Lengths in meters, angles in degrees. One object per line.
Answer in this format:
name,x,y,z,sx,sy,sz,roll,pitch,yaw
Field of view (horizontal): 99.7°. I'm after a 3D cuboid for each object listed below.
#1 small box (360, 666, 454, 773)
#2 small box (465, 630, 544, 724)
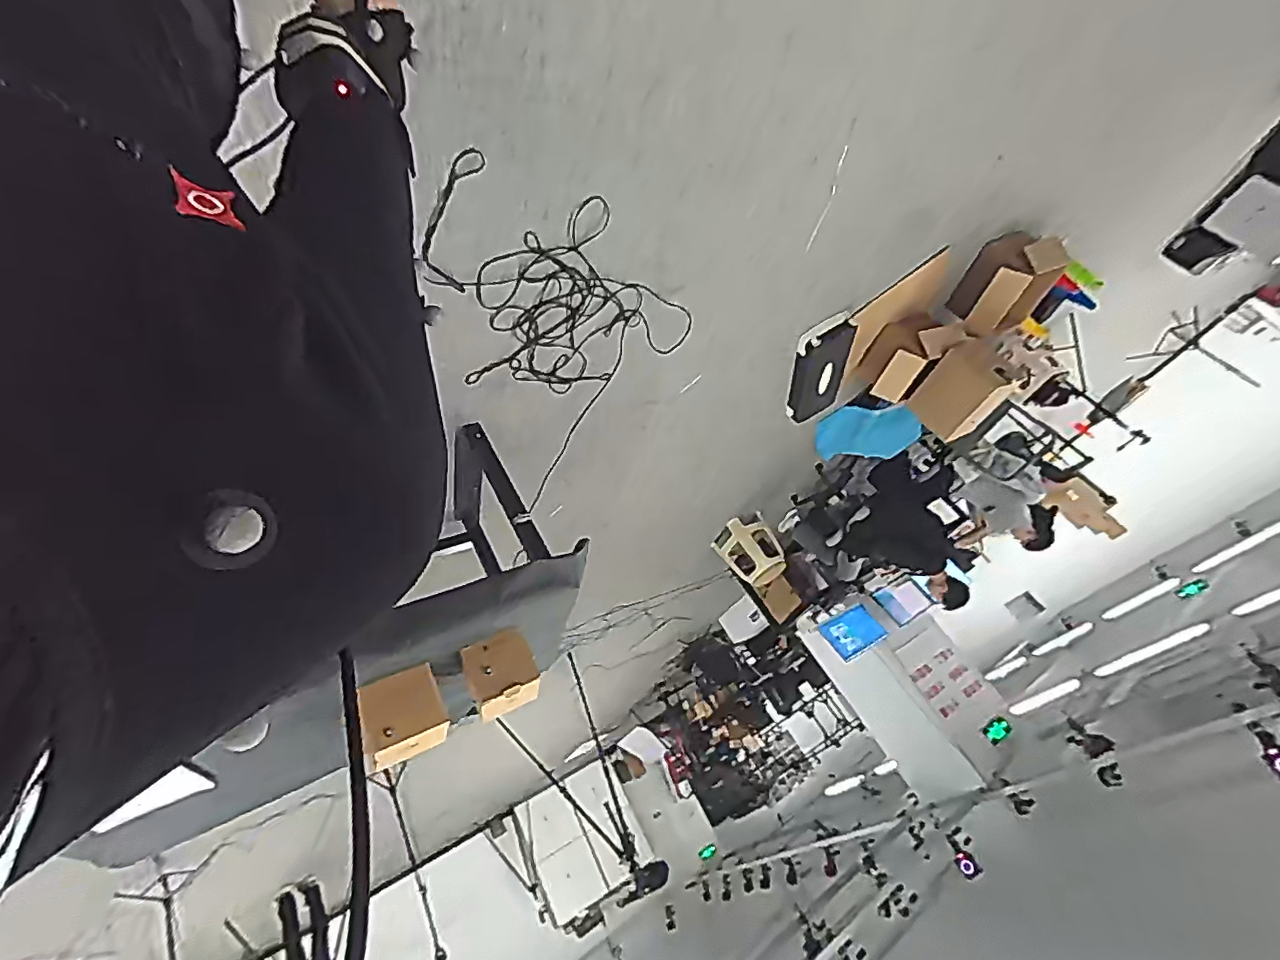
small box,-0.593,0.600,1.370,0.179,0.176,0.168,-13,146,-34
small box,-0.381,0.542,1.508,0.168,0.176,0.179,-18,149,-26
